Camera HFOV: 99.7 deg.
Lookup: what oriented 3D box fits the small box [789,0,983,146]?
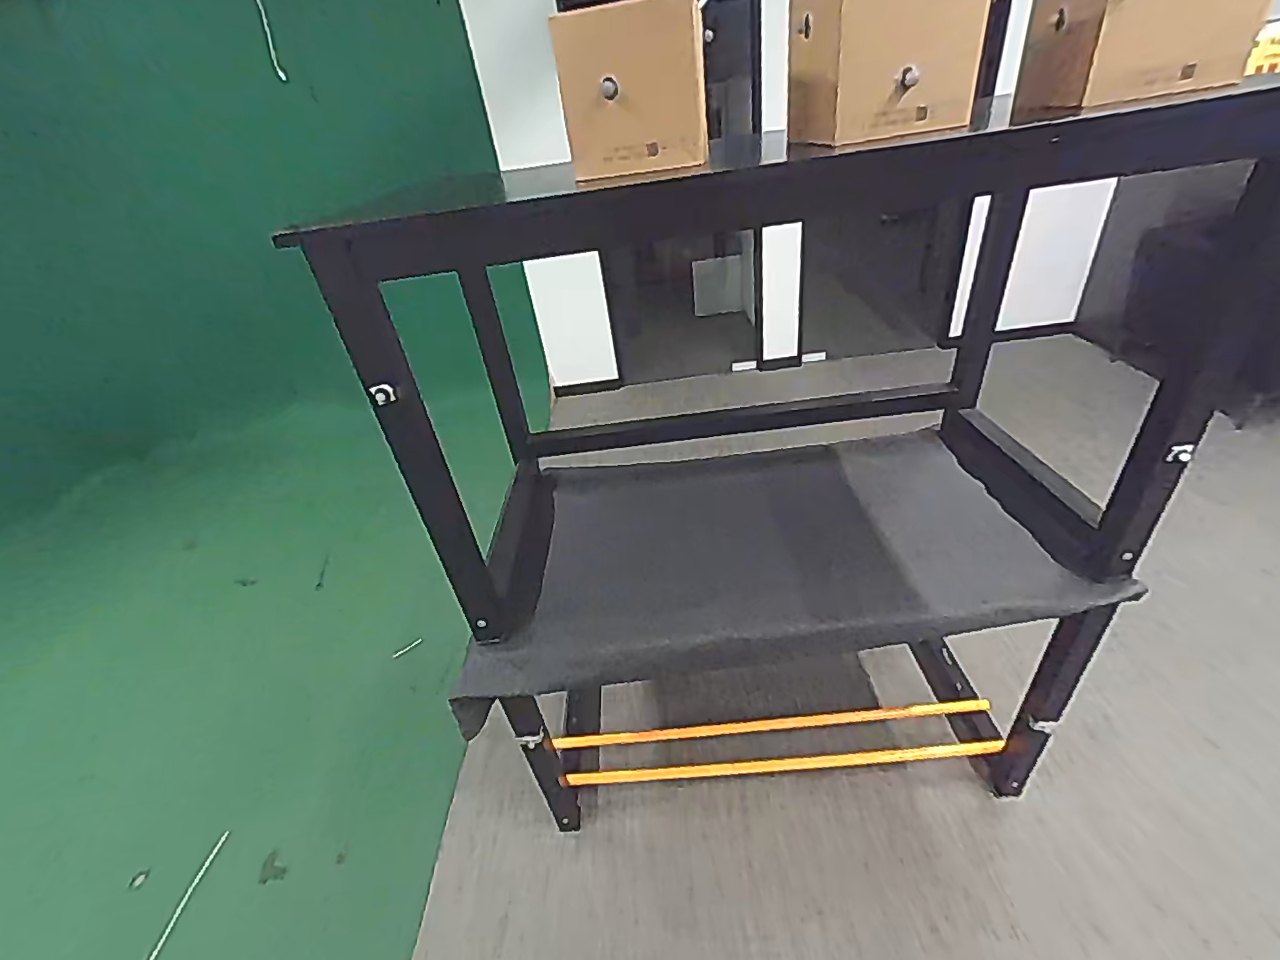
[{"bbox_3d":[0.291,-0.525,0.677,0.168,0.176,0.179,-10,33,0],"label":"small box"}]

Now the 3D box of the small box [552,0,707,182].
[{"bbox_3d":[0.000,-0.500,0.712,0.168,0.176,0.179,-2,33,10],"label":"small box"}]
